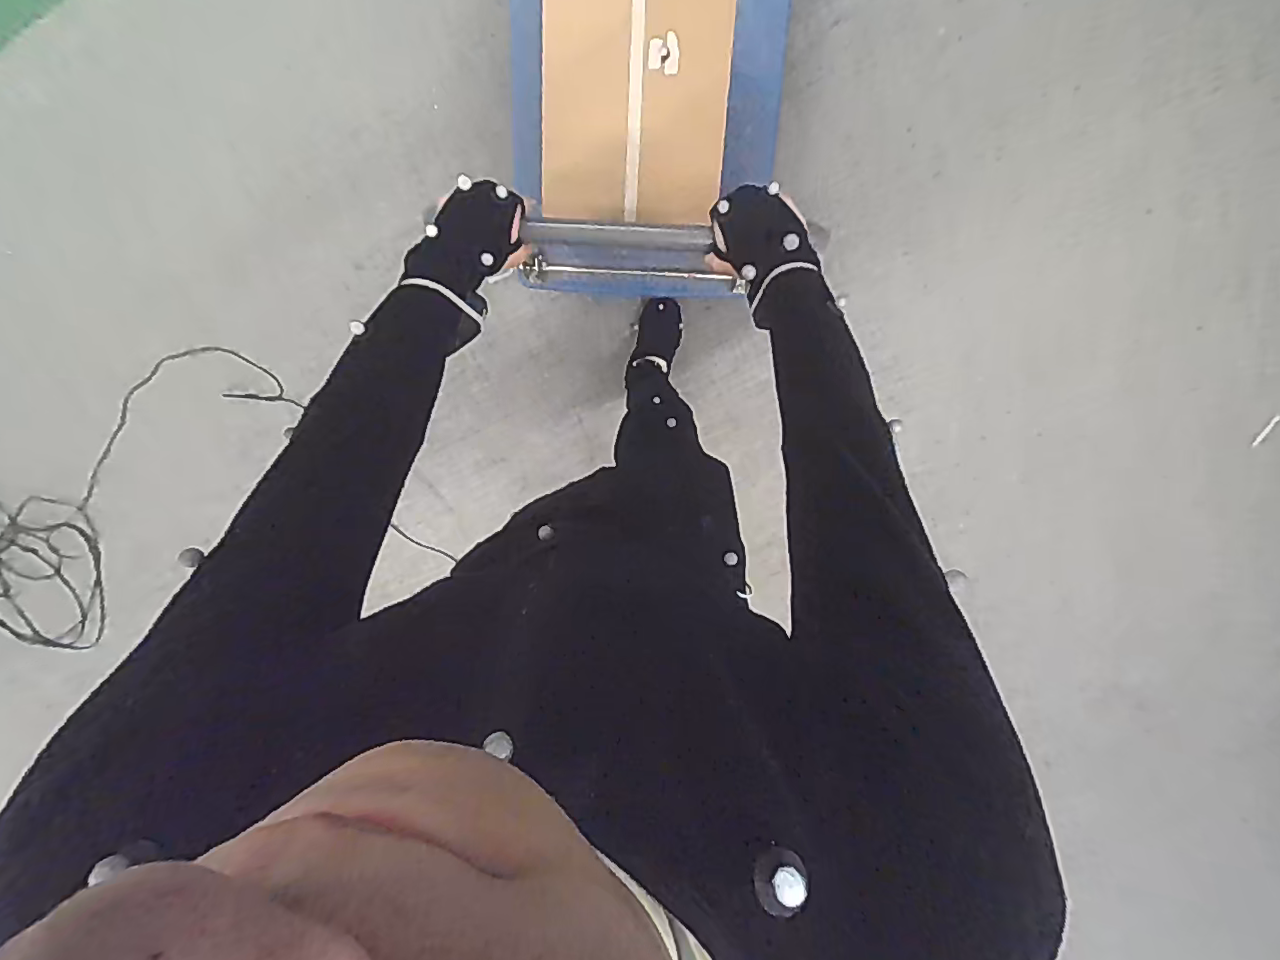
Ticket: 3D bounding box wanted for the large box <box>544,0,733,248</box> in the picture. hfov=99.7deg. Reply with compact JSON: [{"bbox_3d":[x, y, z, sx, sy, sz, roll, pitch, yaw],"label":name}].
[{"bbox_3d":[-0.003,-0.693,1.065,0.320,0.320,0.408,4,107,1],"label":"large box"}]
